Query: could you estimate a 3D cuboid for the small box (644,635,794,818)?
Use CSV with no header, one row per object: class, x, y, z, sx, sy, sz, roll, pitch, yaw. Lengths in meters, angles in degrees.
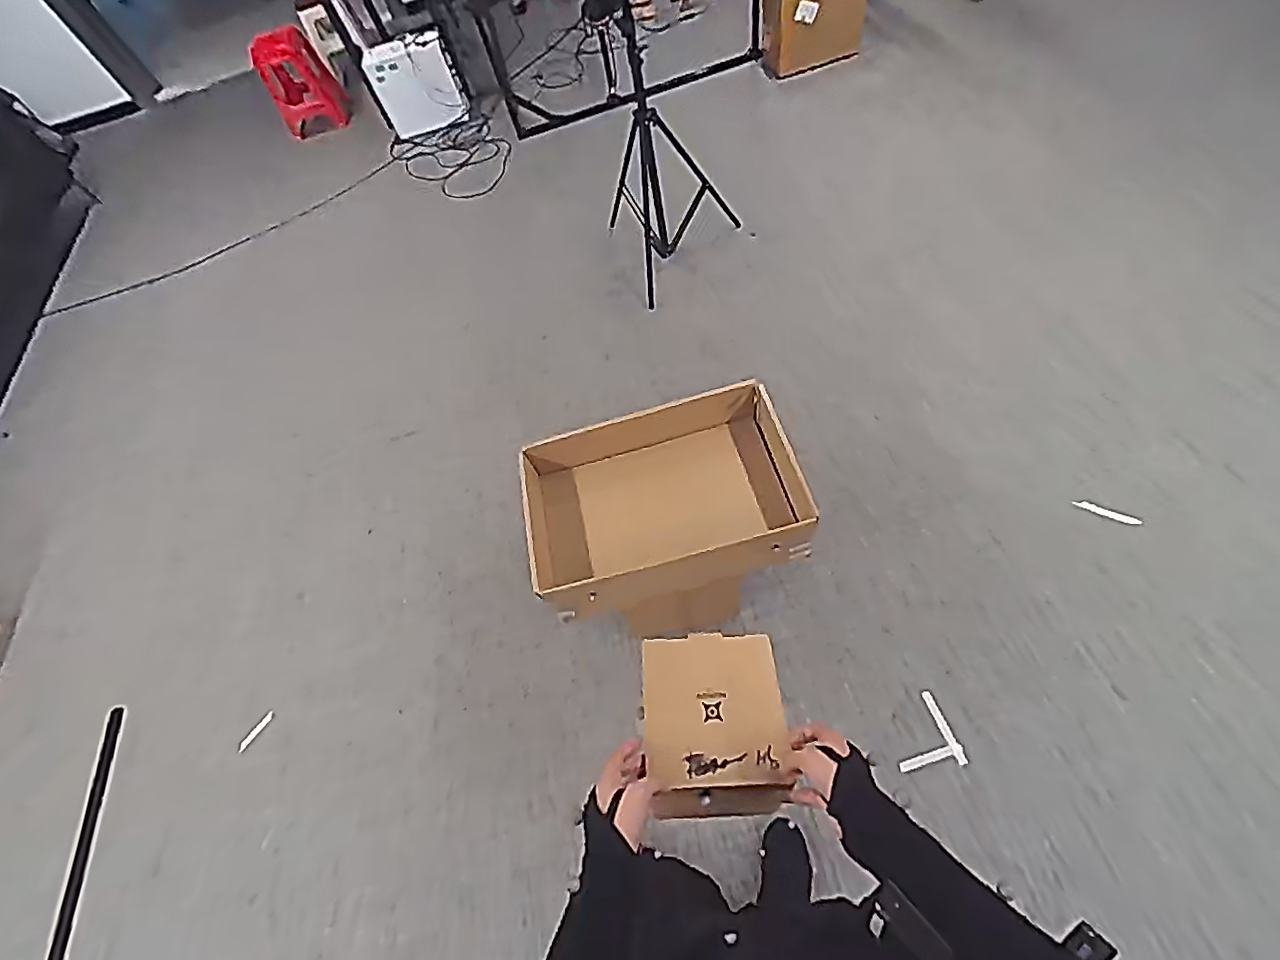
small box,0.089,0.321,0.704,0.168,0.176,0.179,-3,48,1
